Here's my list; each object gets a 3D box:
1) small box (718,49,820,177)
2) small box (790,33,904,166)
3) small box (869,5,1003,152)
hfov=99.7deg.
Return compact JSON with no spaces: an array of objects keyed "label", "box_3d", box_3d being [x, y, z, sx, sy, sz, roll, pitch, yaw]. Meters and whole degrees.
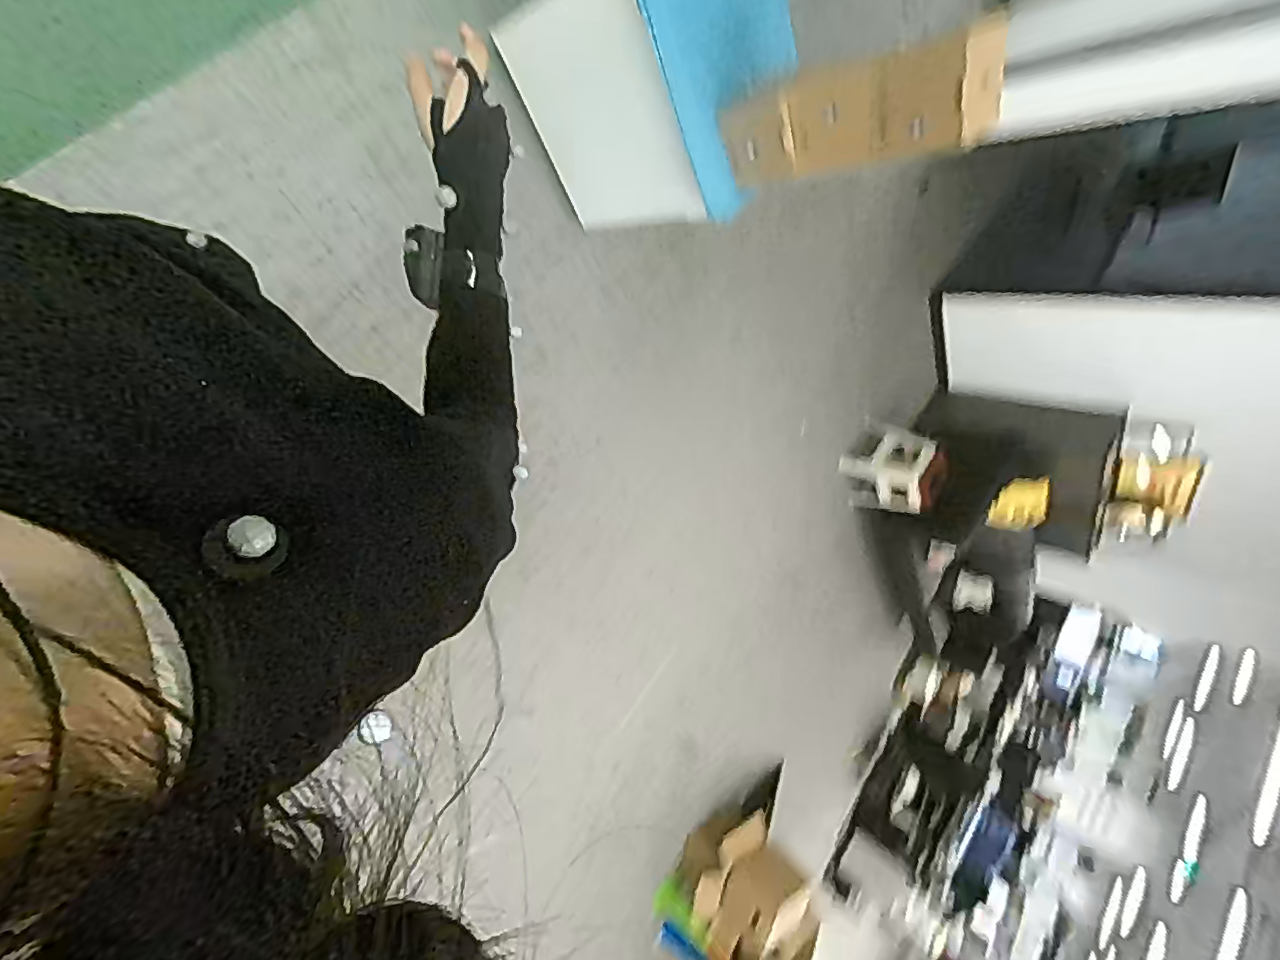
[{"label":"small box","box_3d":[0.292,-0.798,1.193,0.179,0.176,0.168,-50,133,-20]},{"label":"small box","box_3d":[0.417,-0.760,1.094,0.179,0.176,0.168,-43,130,-27]},{"label":"small box","box_3d":[0.531,-0.721,0.984,0.179,0.176,0.168,-41,130,-29]}]
